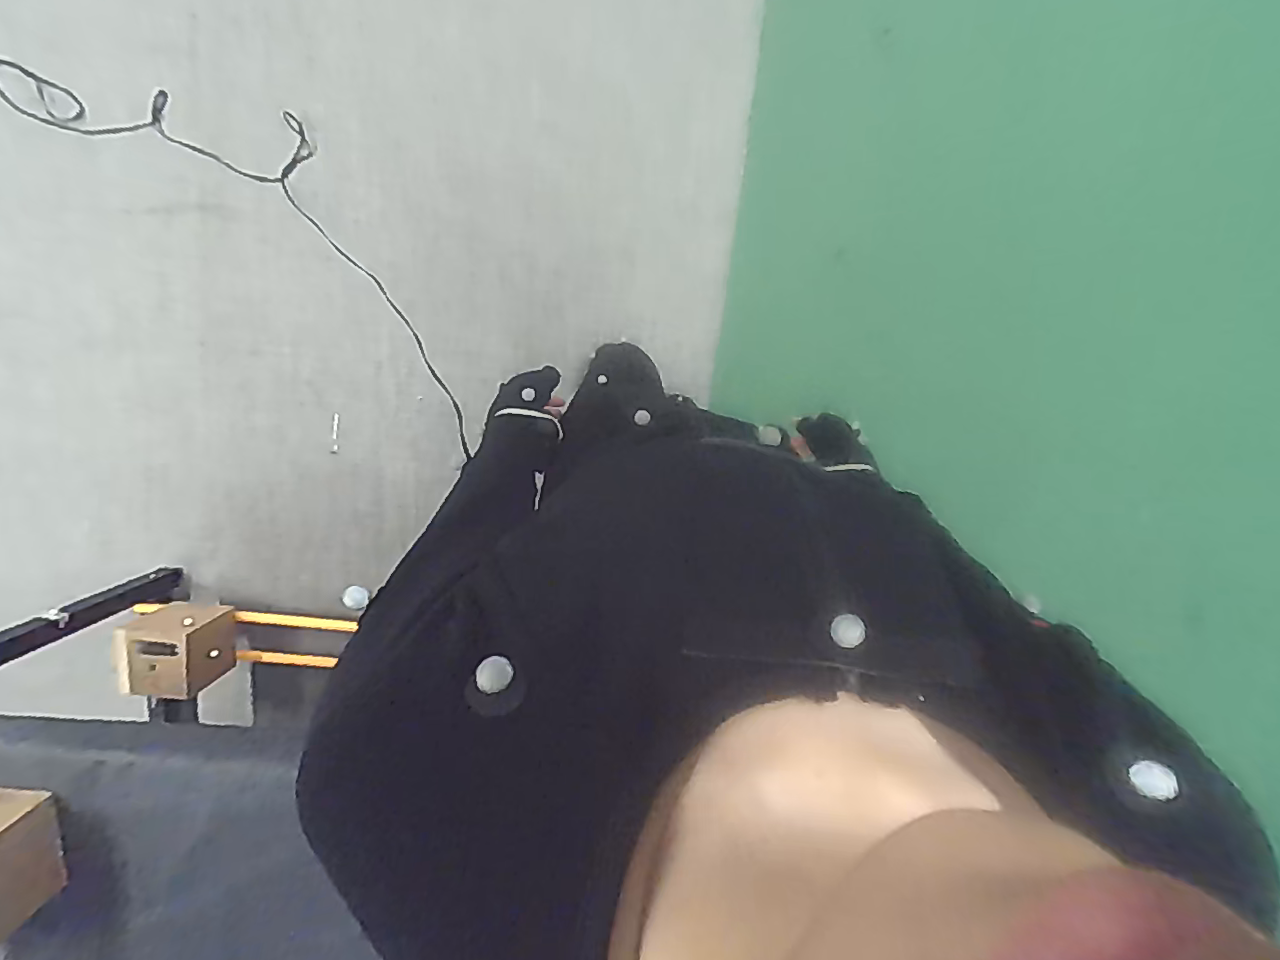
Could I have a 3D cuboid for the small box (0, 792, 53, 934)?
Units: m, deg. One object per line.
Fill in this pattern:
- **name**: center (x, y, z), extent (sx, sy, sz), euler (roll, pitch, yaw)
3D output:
- **small box**: center (-0.988, 0.570, 0.754), extent (0.168, 0.176, 0.179), euler (5, 101, -2)
